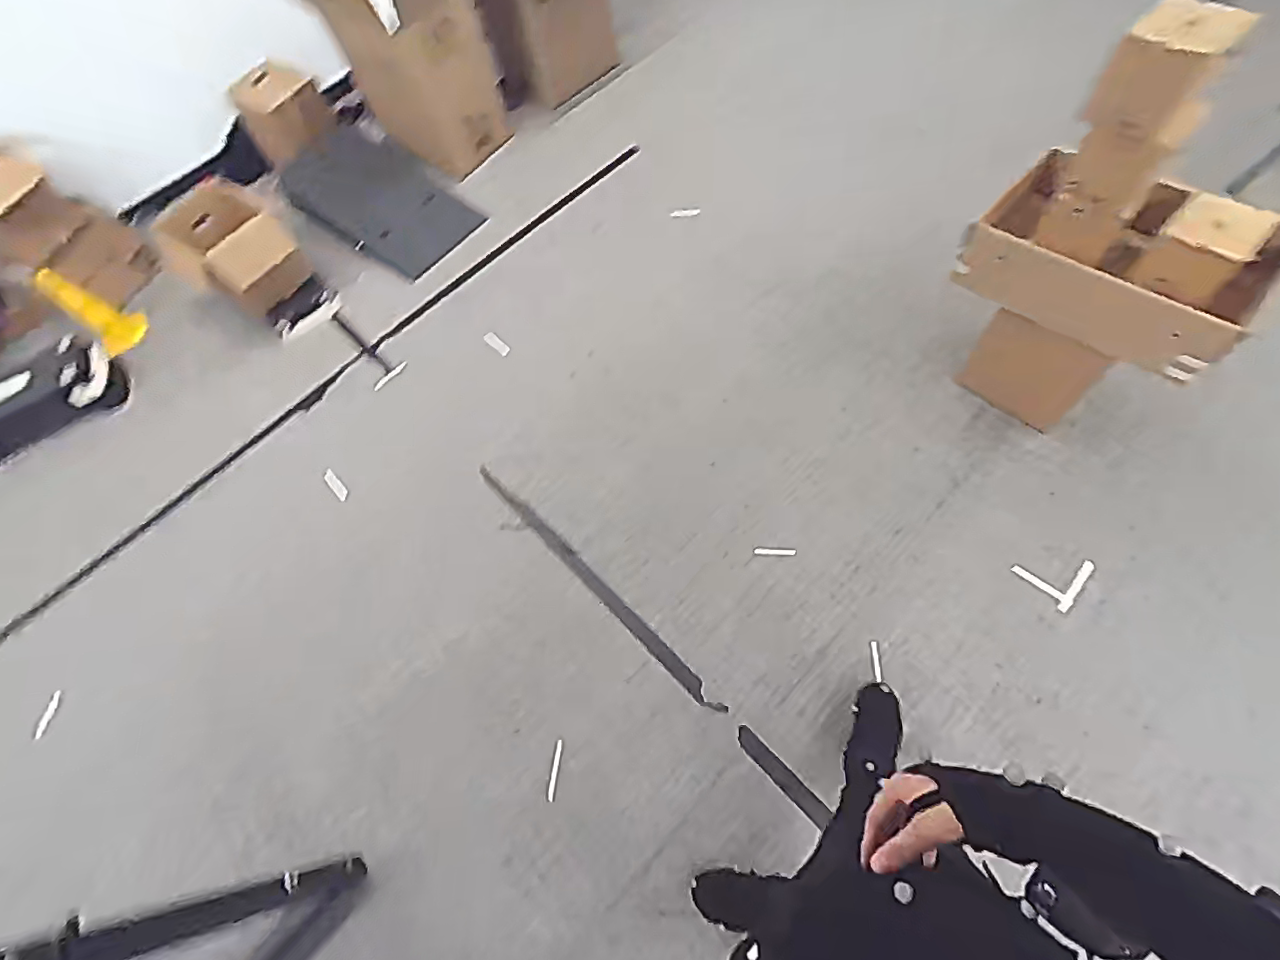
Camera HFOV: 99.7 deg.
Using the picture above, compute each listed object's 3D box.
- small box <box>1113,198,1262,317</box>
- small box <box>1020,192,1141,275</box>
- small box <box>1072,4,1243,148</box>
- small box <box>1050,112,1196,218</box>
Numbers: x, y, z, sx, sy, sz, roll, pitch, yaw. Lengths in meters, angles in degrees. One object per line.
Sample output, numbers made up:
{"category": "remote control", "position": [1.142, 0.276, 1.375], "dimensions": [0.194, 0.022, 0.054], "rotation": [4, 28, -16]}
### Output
{"category": "small box", "position": [1.319, -0.538, 1.318], "dimensions": [0.179, 0.176, 0.168], "rotation": [-43, 63, -13]}
{"category": "small box", "position": [1.148, -0.679, 1.418], "dimensions": [0.168, 0.176, 0.179], "rotation": [36, 72, 25]}
{"category": "small box", "position": [1.078, -0.851, 1.146], "dimensions": [0.179, 0.176, 0.168], "rotation": [-40, 64, -11]}
{"category": "small box", "position": [1.123, -0.758, 1.277], "dimensions": [0.179, 0.176, 0.168], "rotation": [-40, 64, -13]}
